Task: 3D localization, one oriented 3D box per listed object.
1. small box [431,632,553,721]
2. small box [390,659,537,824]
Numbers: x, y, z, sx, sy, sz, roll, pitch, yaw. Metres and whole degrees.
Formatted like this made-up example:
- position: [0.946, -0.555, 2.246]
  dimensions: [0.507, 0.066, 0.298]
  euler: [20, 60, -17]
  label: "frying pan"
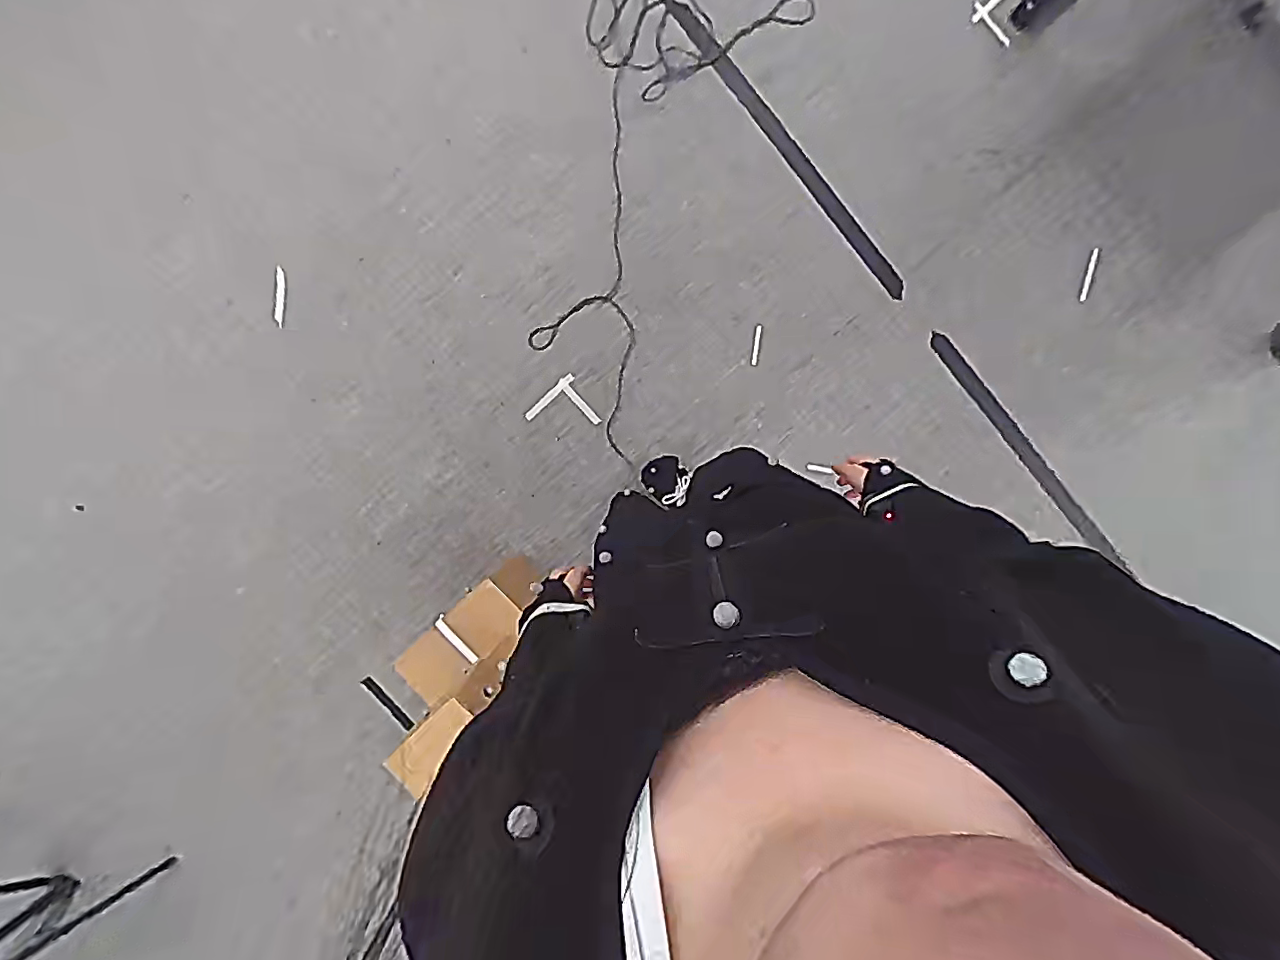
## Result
- position: [-0.307, 0.461, 1.153]
  dimensions: [0.179, 0.176, 0.168]
  euler: [-43, 93, 3]
  label: "small box"
- position: [-0.308, 0.464, 0.990]
  dimensions: [0.179, 0.176, 0.168]
  euler: [-44, 91, 4]
  label: "small box"
